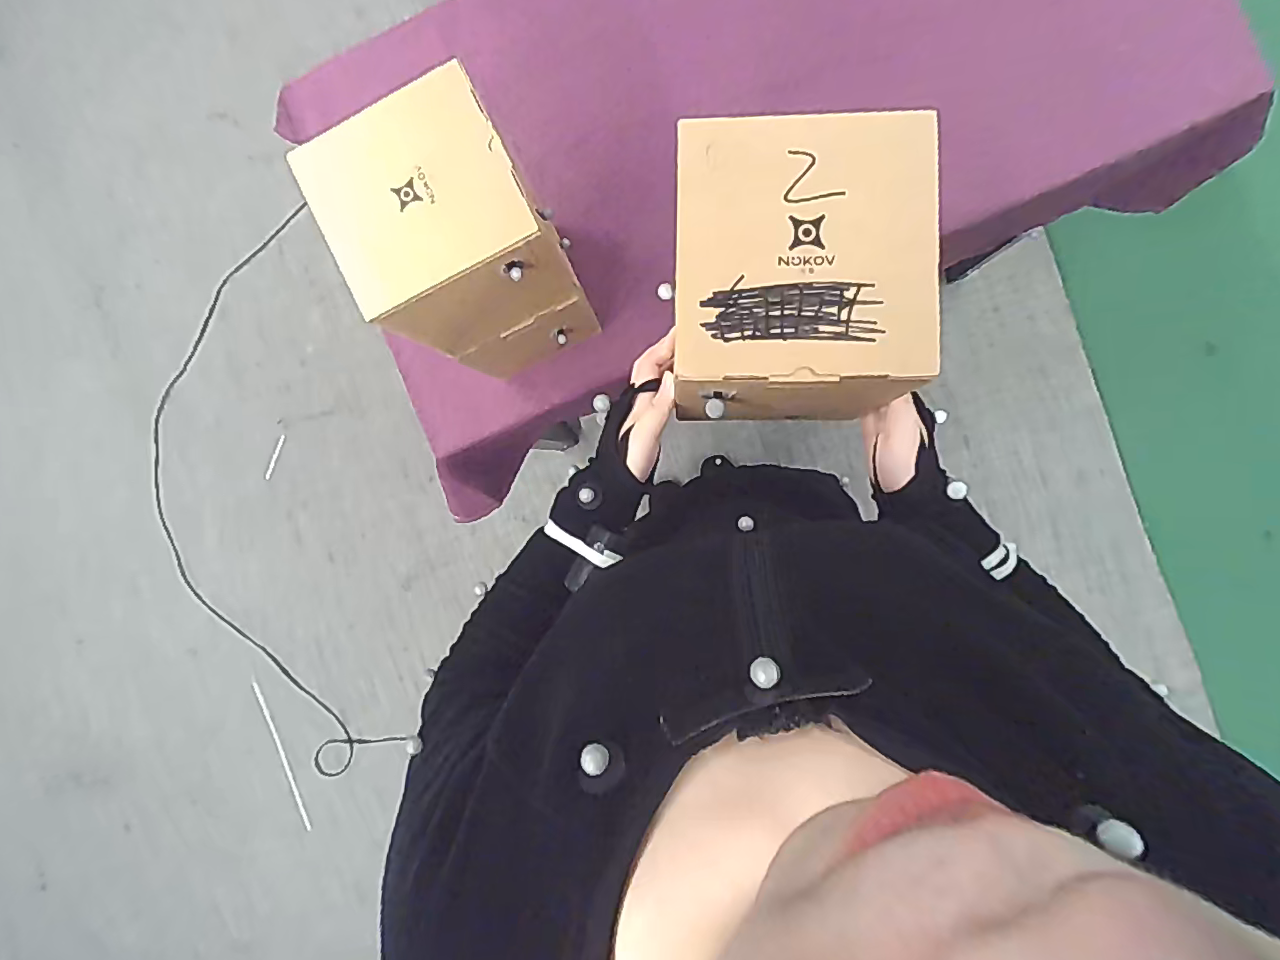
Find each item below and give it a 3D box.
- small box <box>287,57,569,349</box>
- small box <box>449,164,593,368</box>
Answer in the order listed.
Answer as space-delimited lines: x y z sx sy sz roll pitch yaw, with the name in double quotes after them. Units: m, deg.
-0.192 -0.252 0.543 0.179 0.176 0.168 -26 90 4 "small box"
-0.175 -0.259 0.704 0.168 0.176 0.179 -24 90 4 "small box"
